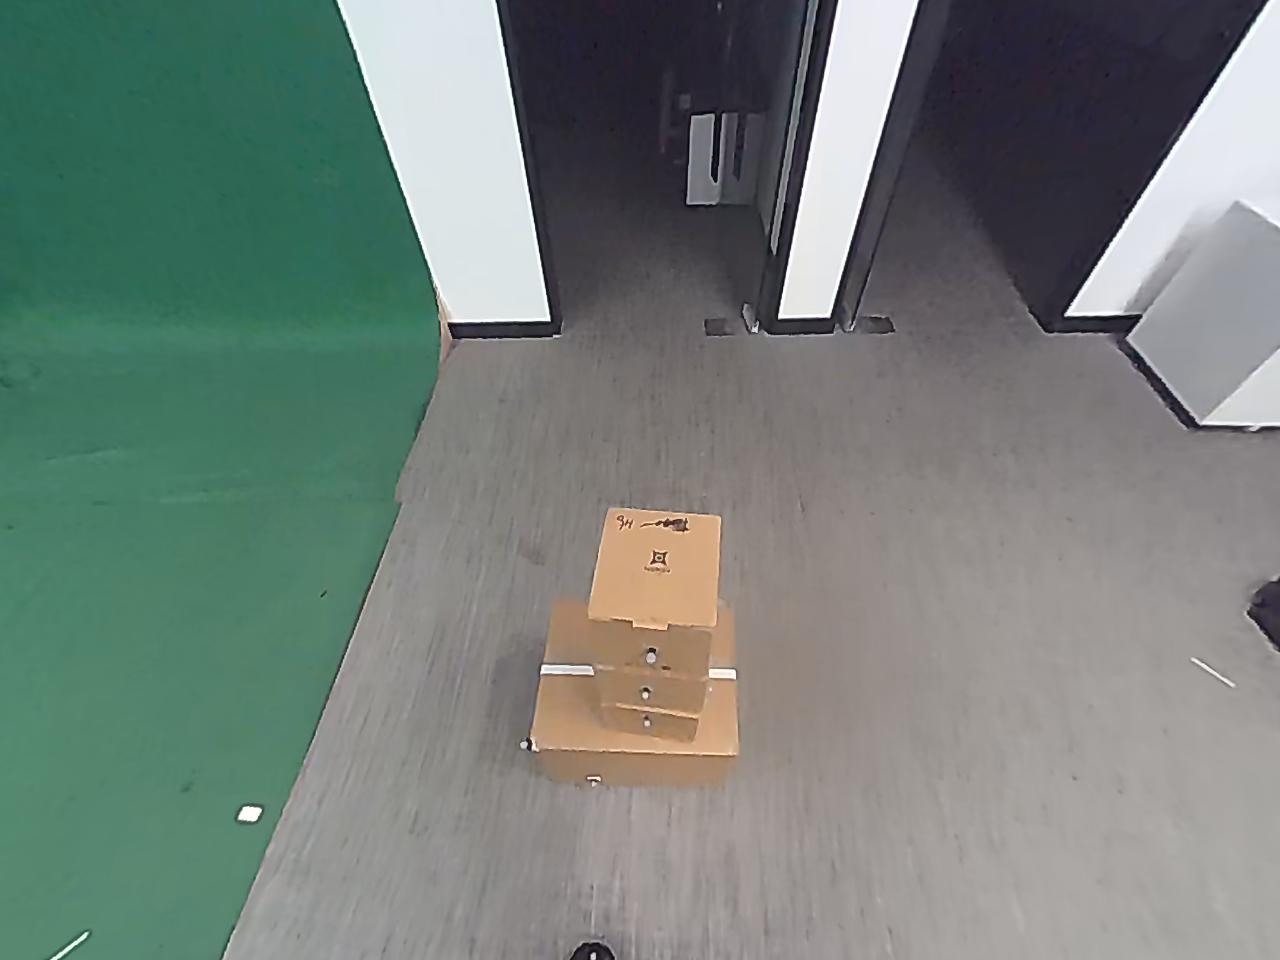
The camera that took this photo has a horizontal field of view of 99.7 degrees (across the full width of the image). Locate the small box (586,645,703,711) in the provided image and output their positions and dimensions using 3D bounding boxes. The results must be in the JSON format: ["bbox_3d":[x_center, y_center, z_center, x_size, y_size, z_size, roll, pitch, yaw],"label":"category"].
[{"bbox_3d":[0.019,0.279,0.915,0.179,0.176,0.168,4,52,7],"label":"small box"}]

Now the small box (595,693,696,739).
[{"bbox_3d":[0.020,0.384,1.040,0.179,0.176,0.168,6,52,5],"label":"small box"}]

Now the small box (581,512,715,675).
[{"bbox_3d":[0.019,0.169,0.793,0.168,0.176,0.179,5,53,6],"label":"small box"}]
